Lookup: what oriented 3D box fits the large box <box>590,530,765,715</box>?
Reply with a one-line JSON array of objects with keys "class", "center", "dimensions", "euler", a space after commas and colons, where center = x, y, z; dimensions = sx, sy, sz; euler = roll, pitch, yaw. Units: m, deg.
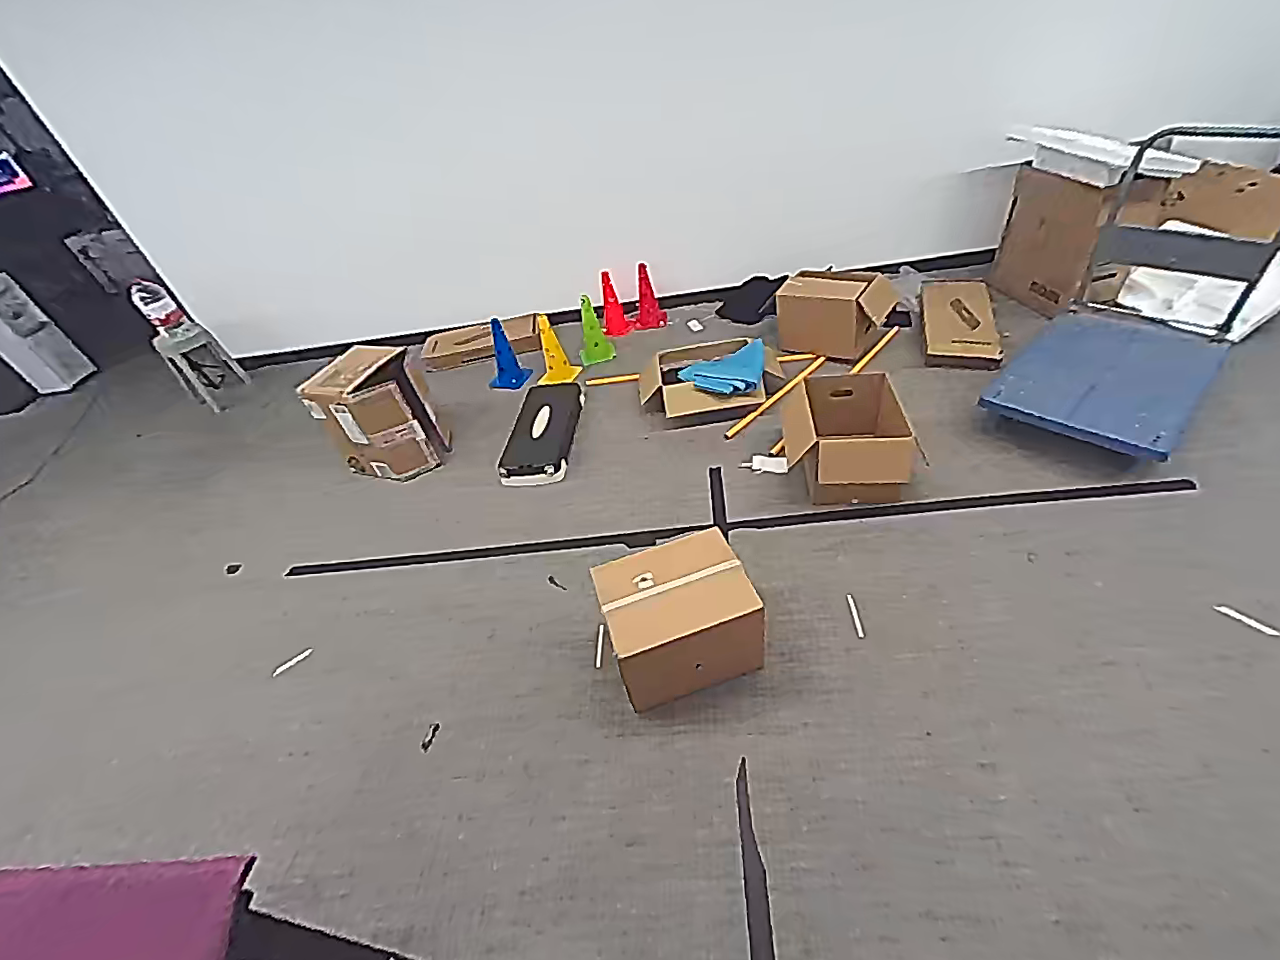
[{"class": "large box", "center": [0.112, 0.412, 1.573], "dimensions": [0.408, 0.320, 0.320], "euler": [-19, 41, -7]}]
